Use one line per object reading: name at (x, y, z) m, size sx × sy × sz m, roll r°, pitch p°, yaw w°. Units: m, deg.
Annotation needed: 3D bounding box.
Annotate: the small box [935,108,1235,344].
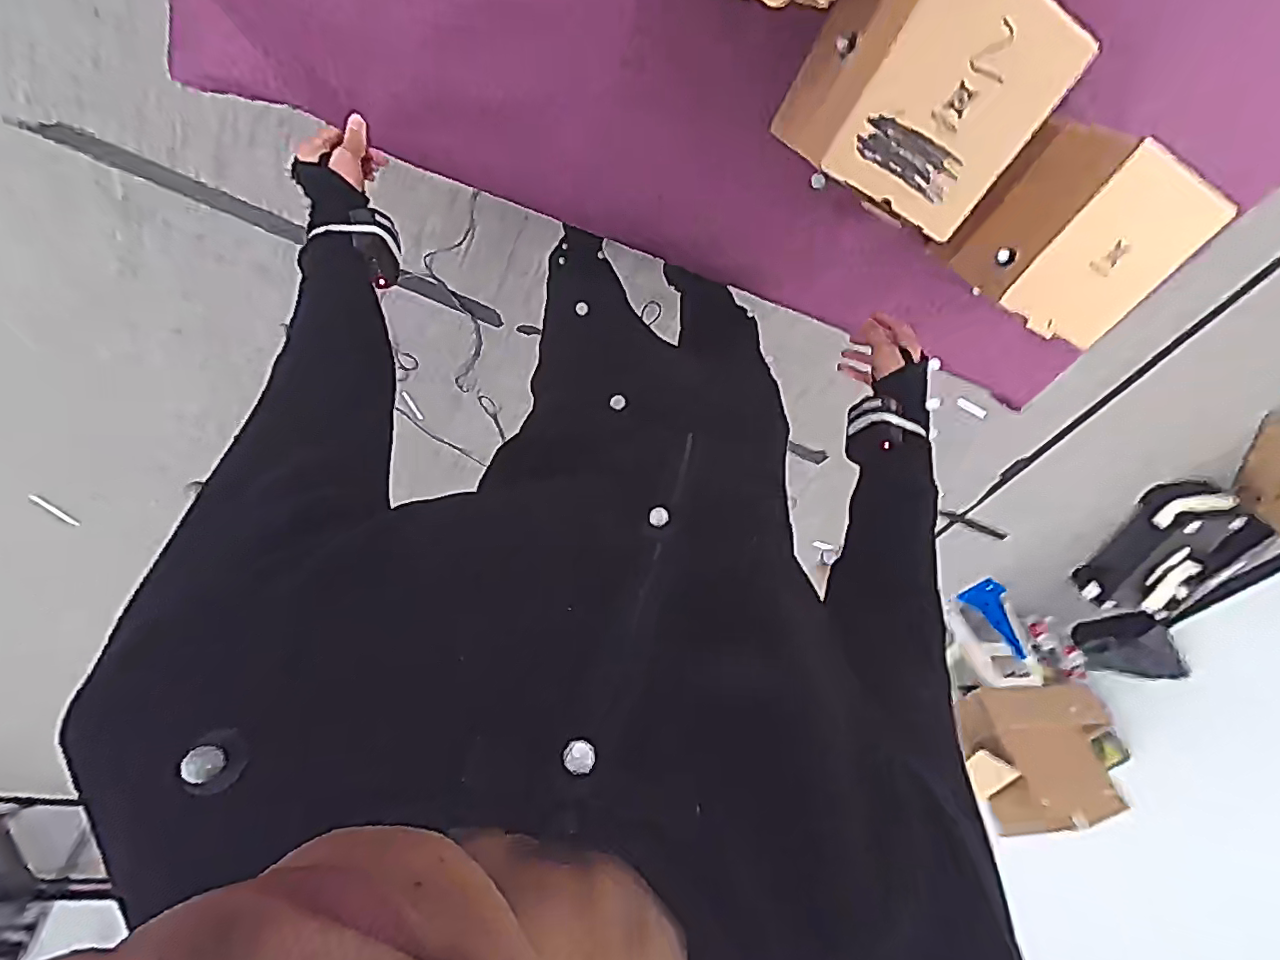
small box at (0.496, -0.298, 0.634) m, size 0.168 × 0.176 × 0.179 m, roll 15°, pitch 130°, yaw -21°
